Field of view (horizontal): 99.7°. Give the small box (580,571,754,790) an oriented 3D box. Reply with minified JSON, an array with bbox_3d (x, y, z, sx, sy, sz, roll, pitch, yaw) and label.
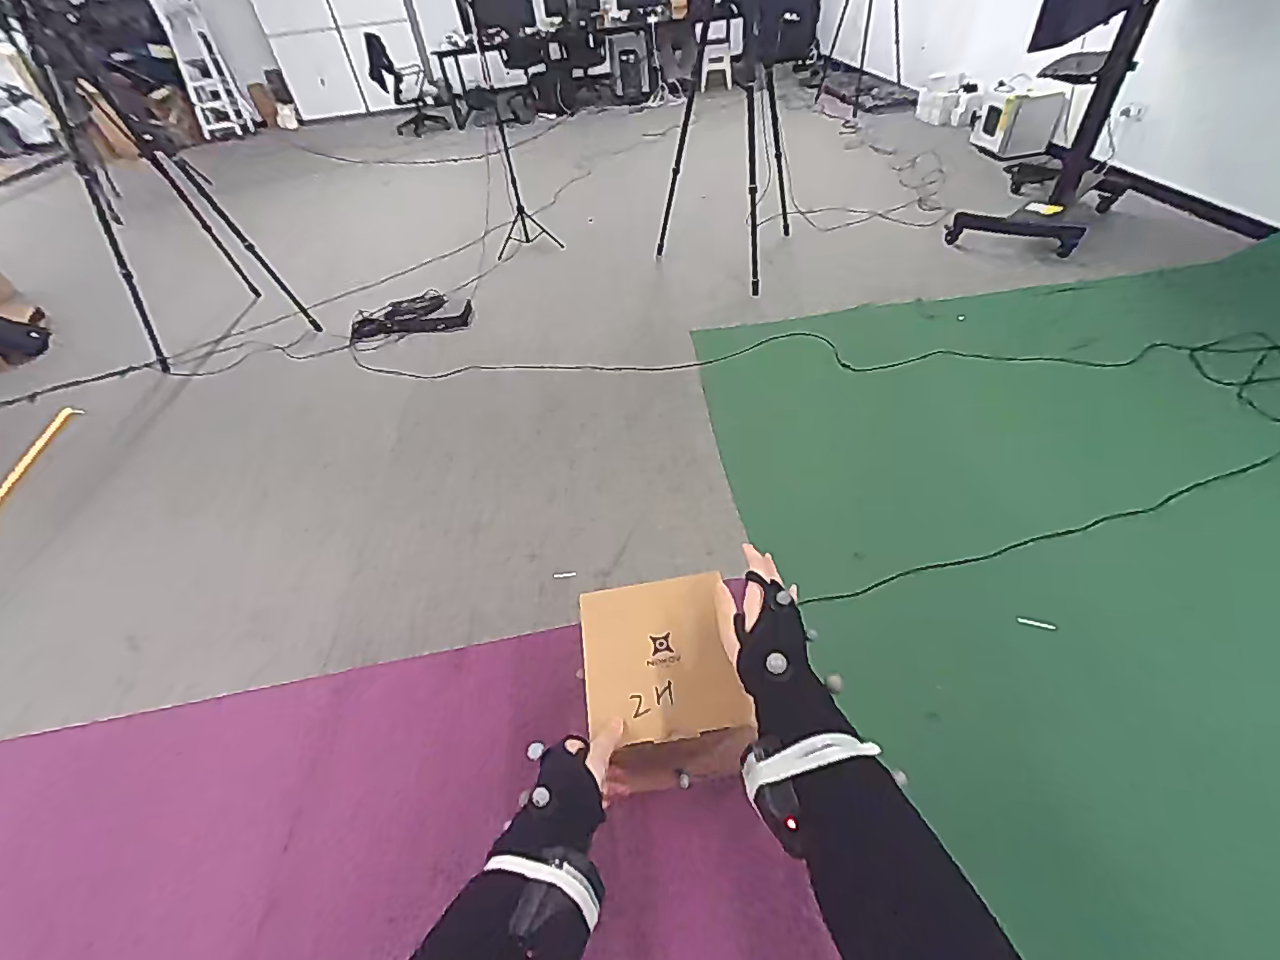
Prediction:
[{"bbox_3d":[0.027,0.233,0.627,0.168,0.176,0.179,-10,48,0],"label":"small box"}]
